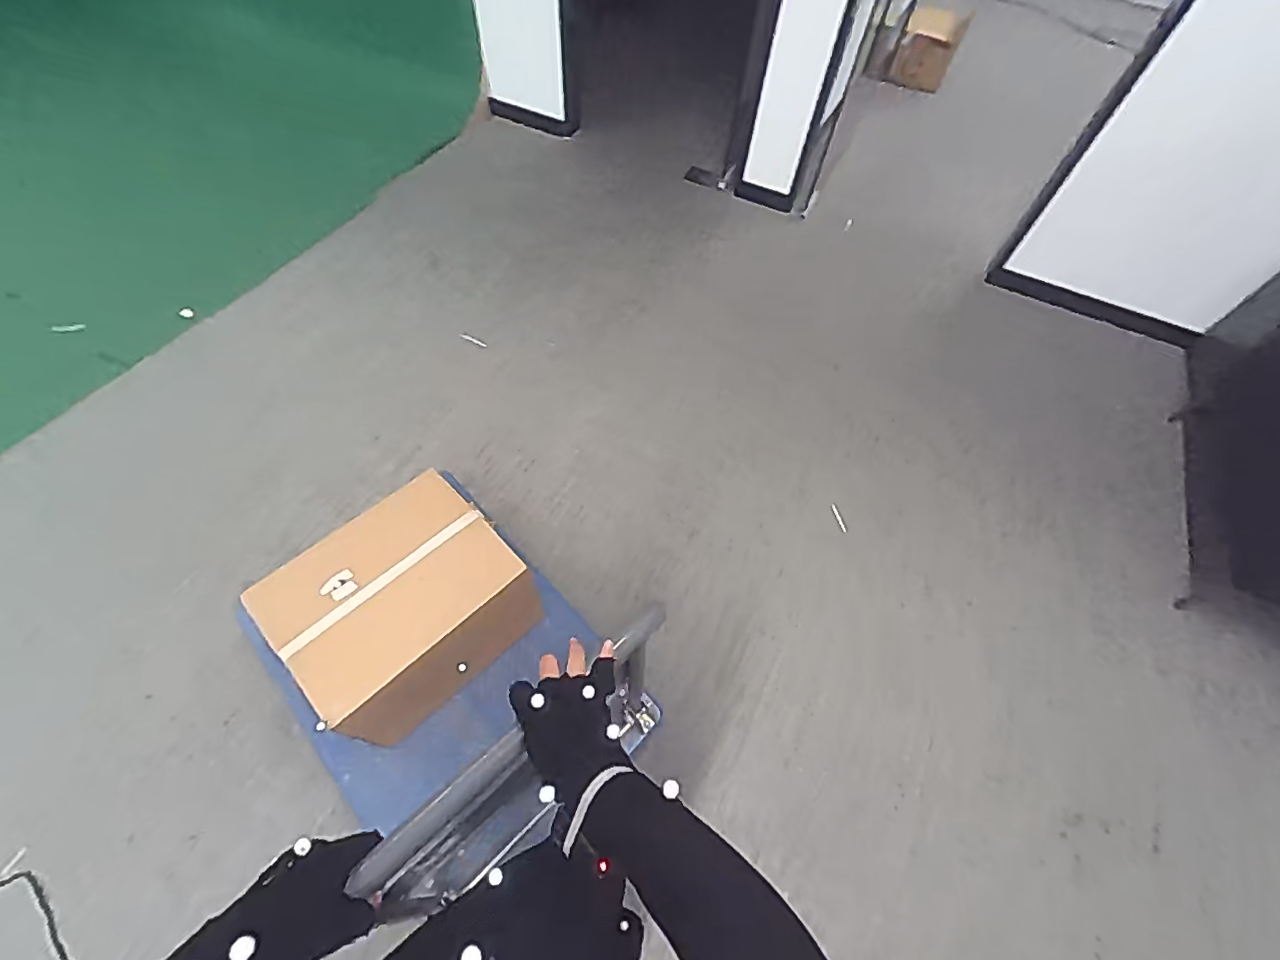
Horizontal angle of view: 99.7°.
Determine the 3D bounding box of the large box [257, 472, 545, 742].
[{"bbox_3d":[-0.455,0.267,1.129,0.320,0.320,0.408,41,65,19],"label":"large box"}]
